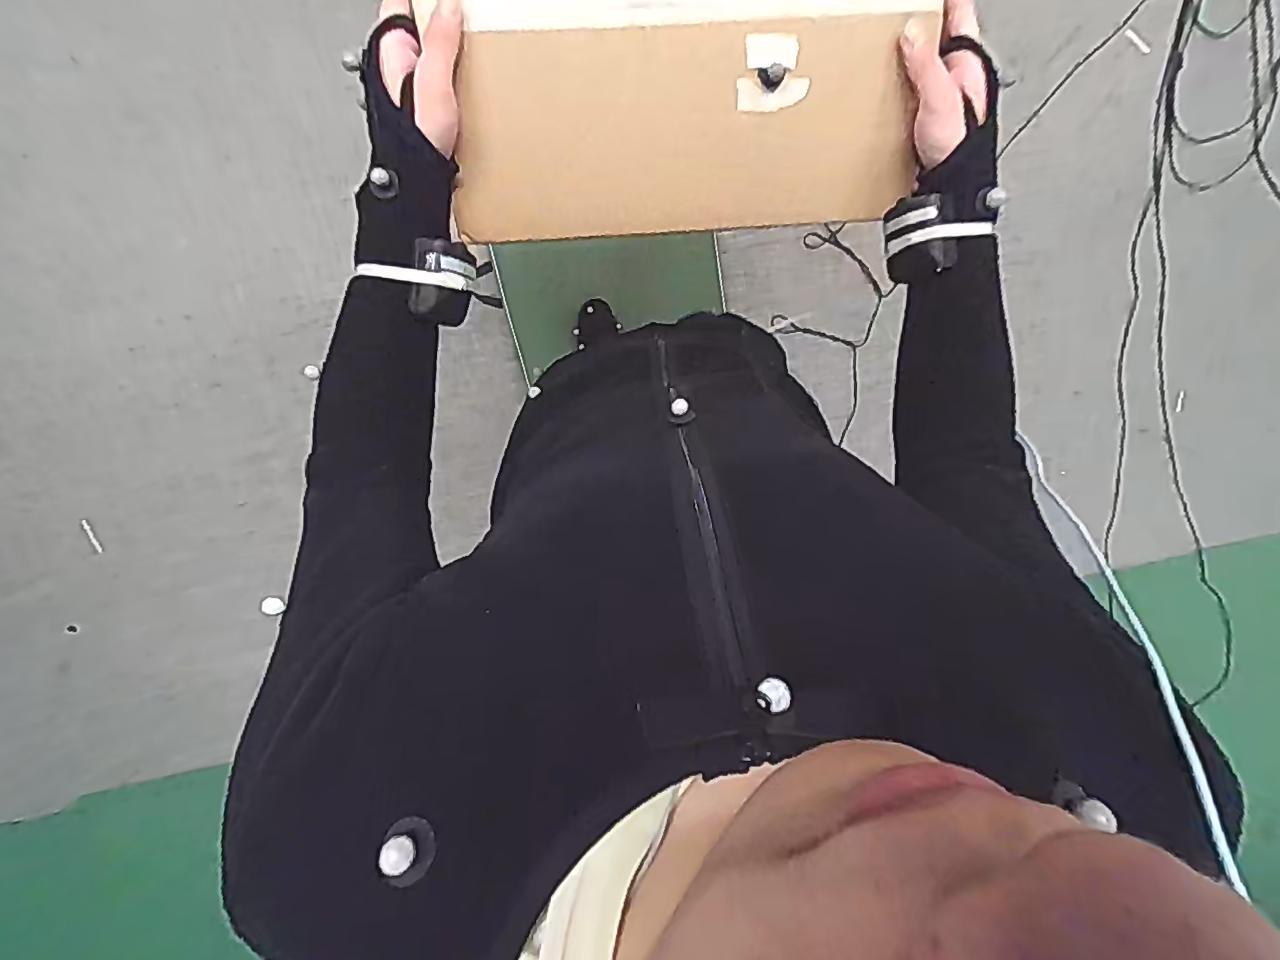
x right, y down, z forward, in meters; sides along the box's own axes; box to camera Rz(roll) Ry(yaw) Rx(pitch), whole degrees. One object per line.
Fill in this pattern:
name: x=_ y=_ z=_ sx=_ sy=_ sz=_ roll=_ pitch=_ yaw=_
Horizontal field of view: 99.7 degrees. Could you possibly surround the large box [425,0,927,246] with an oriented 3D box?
large box: x=0.018 y=-0.434 z=0.555 sx=0.408 sy=0.320 sz=0.320 roll=-6 pitch=119 yaw=-4
